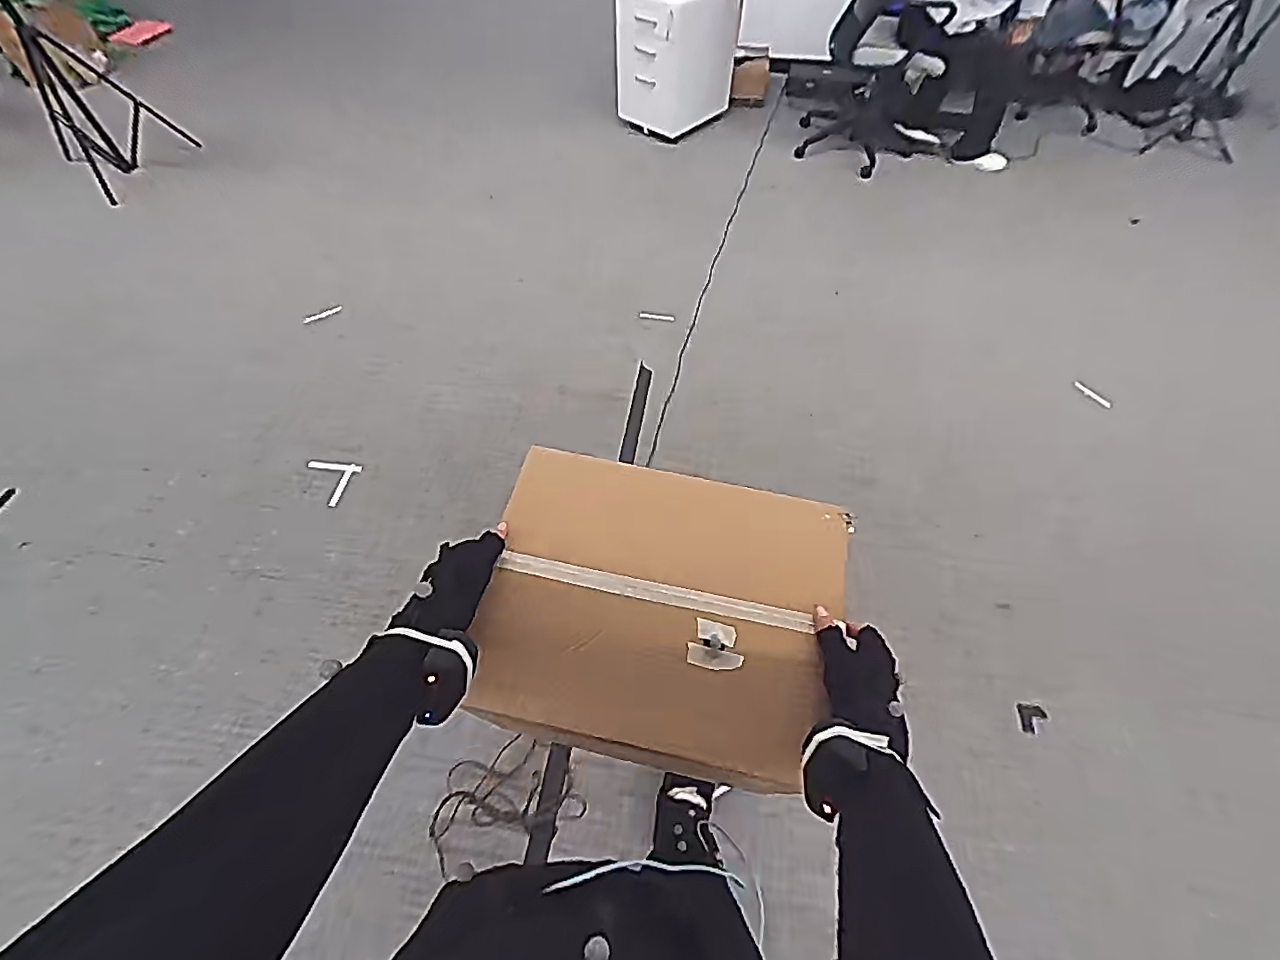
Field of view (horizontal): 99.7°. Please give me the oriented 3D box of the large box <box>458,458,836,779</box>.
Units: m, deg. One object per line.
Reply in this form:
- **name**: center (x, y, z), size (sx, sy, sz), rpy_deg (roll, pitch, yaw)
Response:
- **large box**: center (0.021, 0.206, 0.757), size (0.408, 0.320, 0.320), rpy_deg (11, 61, 4)
